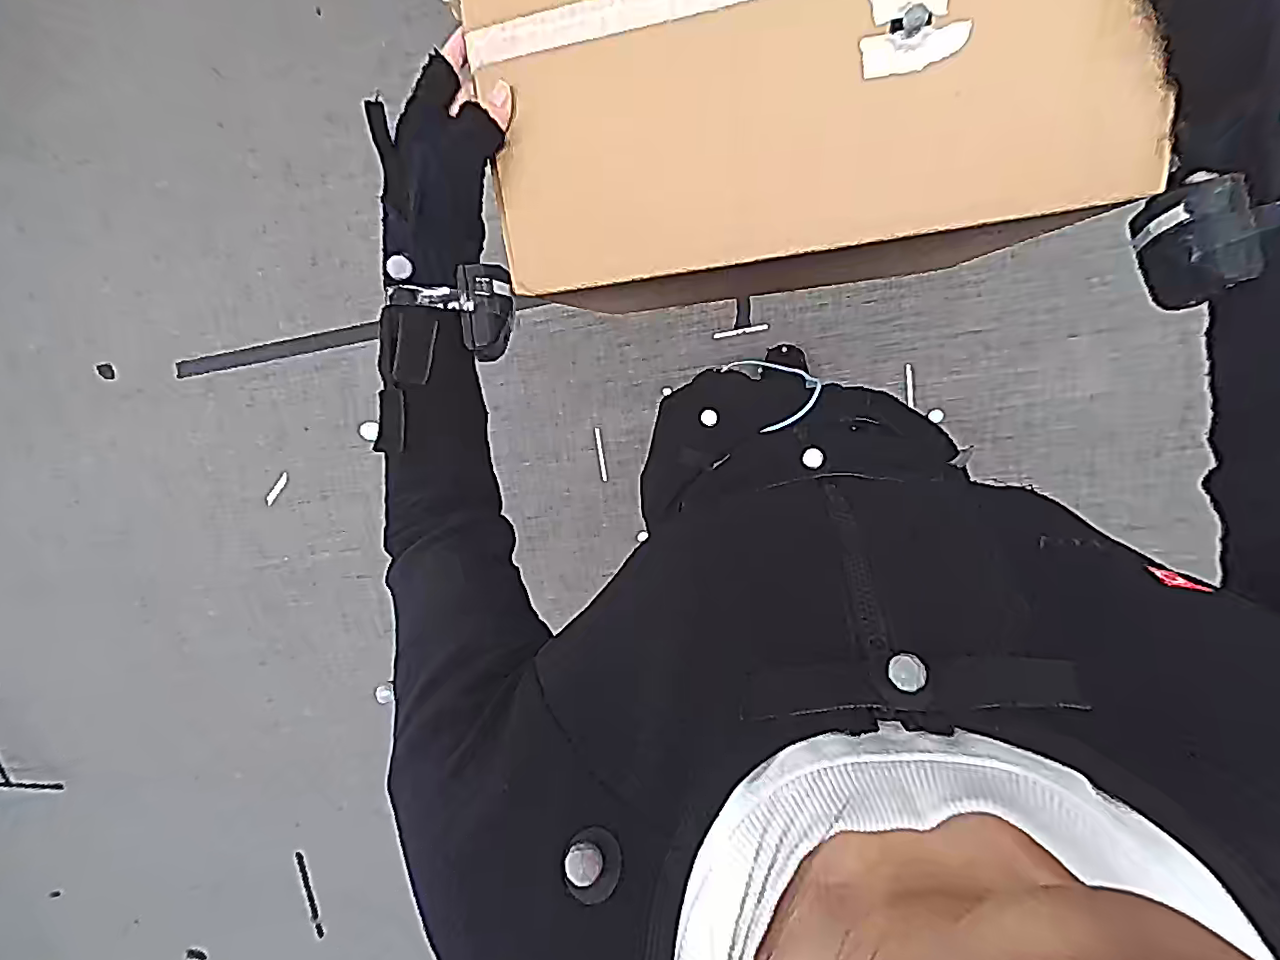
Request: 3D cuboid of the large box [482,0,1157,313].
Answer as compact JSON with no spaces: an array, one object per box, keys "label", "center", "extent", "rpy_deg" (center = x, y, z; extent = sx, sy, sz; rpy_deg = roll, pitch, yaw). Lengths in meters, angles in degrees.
[{"label":"large box","center":[0.114,-0.343,0.474],"extent":[0.408,0.320,0.320],"rpy_deg":[-5,104,10]}]
